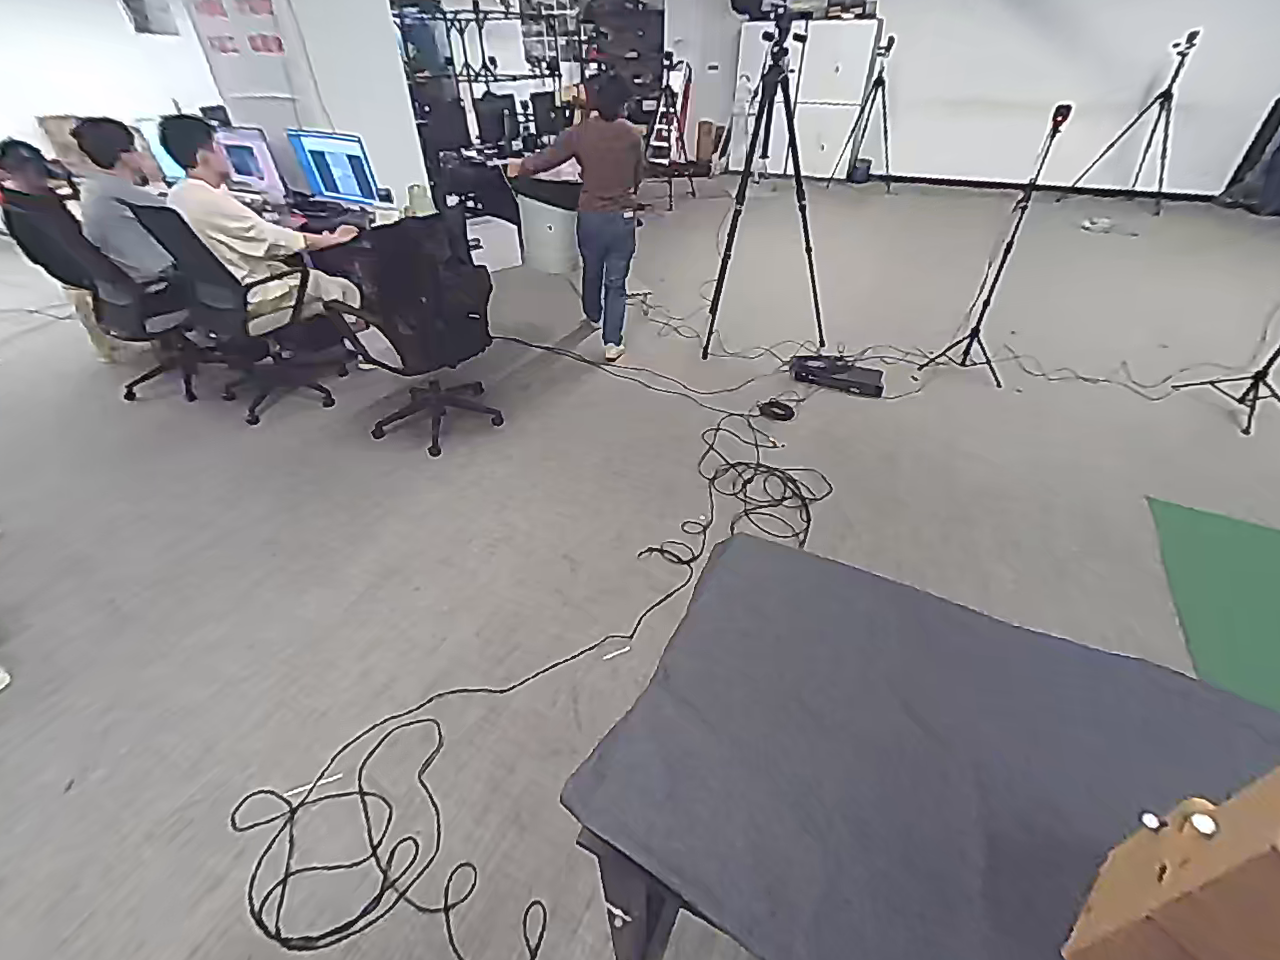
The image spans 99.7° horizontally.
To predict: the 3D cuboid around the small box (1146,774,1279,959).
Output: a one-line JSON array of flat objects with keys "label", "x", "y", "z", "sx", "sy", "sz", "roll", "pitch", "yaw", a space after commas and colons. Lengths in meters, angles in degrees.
[{"label": "small box", "x": 0.572, "y": 0.352, "z": 0.423, "sx": 0.168, "sy": 0.176, "sz": 0.179, "roll": -20, "pitch": 42, "yaw": -25}]
